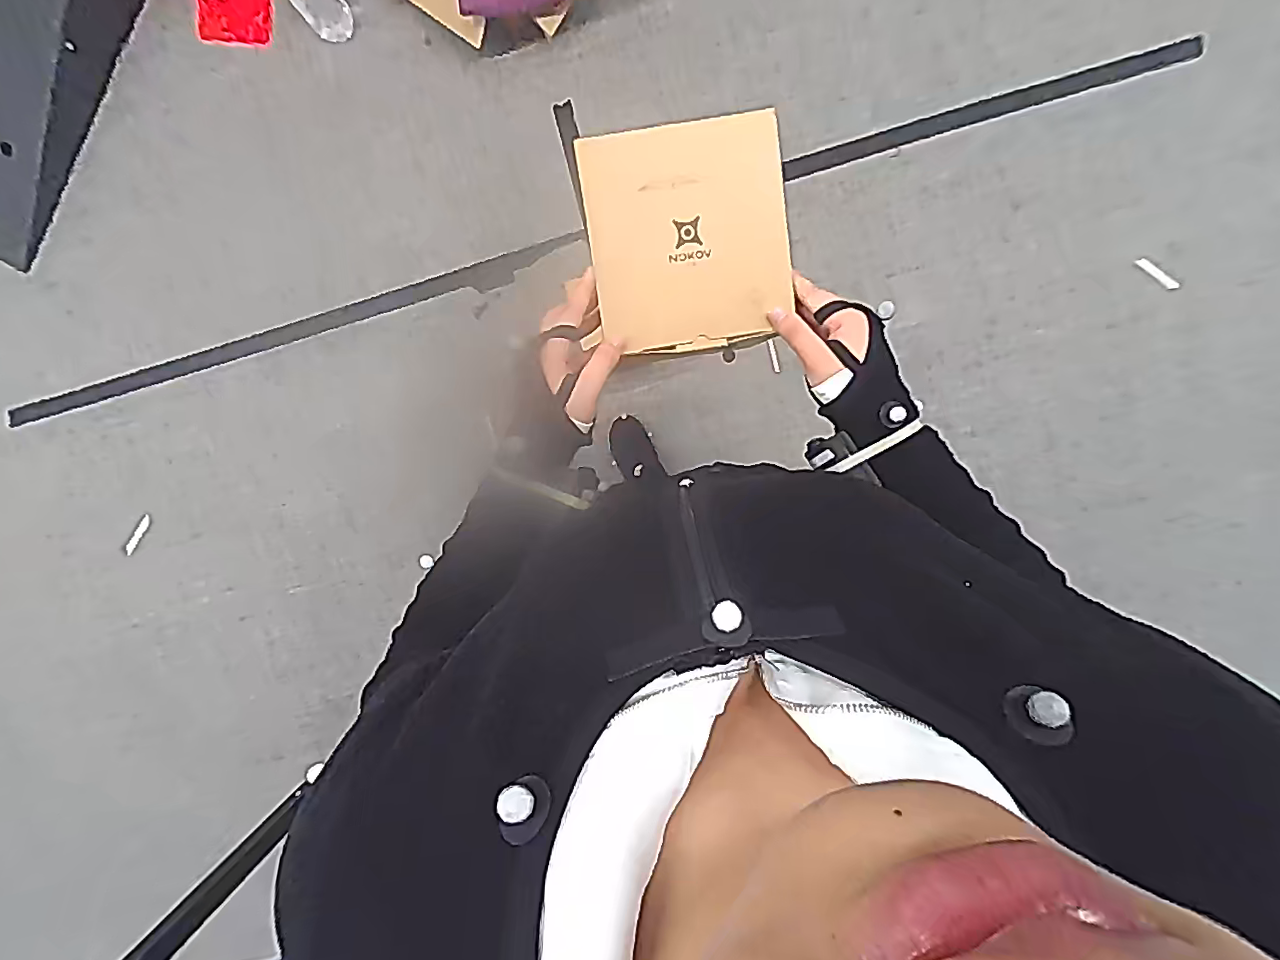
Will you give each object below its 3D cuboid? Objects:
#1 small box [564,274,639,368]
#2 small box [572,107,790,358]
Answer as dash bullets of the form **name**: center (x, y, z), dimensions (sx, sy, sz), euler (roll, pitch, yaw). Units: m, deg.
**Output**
- **small box**: center (-0.062, -0.364, 1.224), dimensions (0.168, 0.176, 0.179), euler (-15, 96, 3)
- **small box**: center (0.036, -0.217, 0.526), dimensions (0.168, 0.176, 0.179), euler (-9, 99, 0)
